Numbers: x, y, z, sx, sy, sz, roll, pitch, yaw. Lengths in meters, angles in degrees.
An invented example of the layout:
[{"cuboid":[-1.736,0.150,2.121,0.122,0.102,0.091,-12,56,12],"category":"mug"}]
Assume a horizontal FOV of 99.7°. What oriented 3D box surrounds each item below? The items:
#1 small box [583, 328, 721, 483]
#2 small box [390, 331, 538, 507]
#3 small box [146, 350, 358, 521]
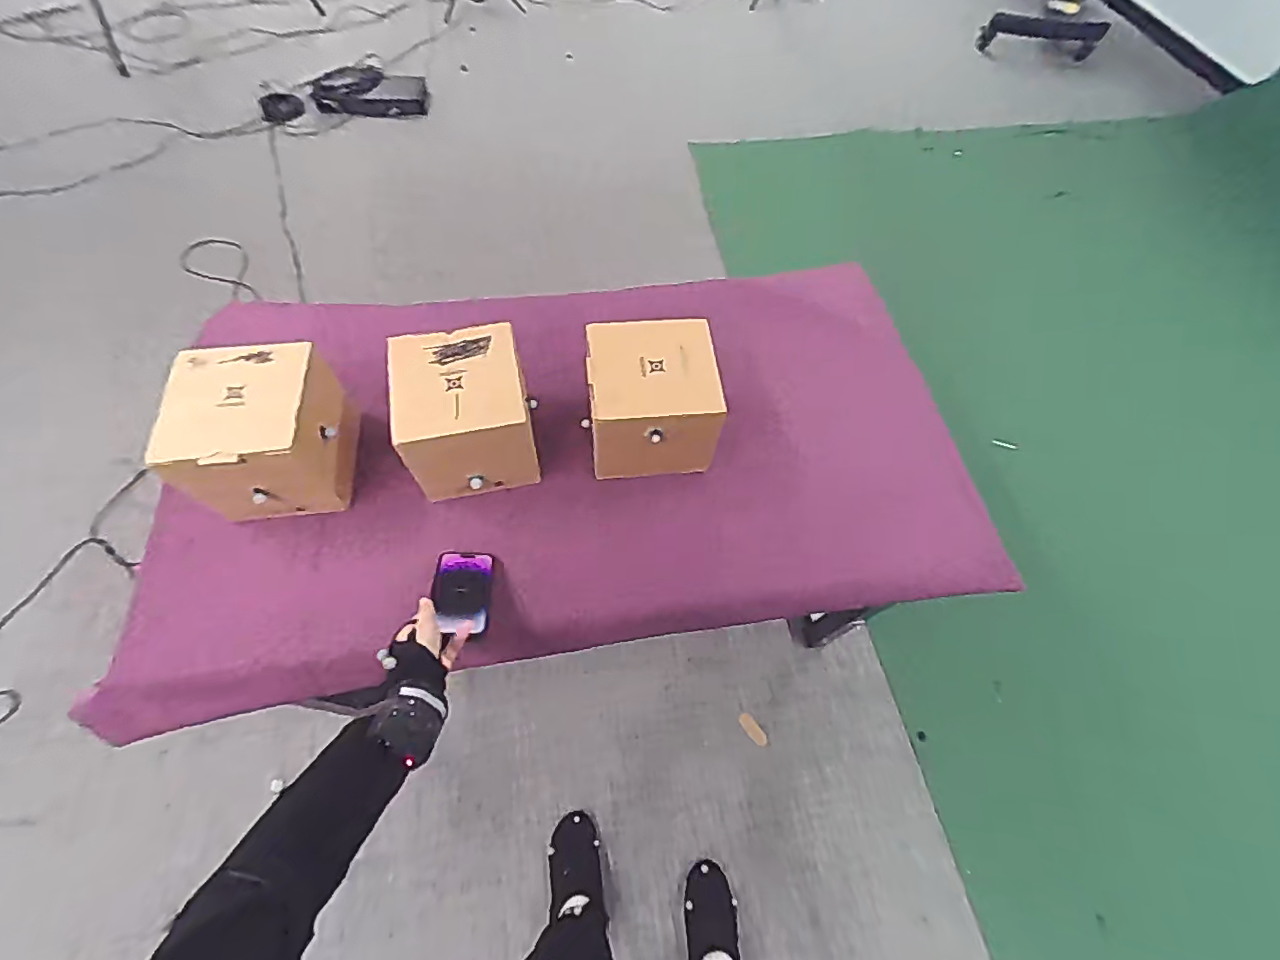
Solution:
[{"cuboid":[0.011,-0.105,0.805,0.179,0.176,0.168,-4,62,-5],"category":"small box"},{"cuboid":[-0.247,-0.084,0.779,0.168,0.176,0.179,-11,63,-9],"category":"small box"},{"cuboid":[-0.512,-0.052,0.747,0.168,0.176,0.179,-6,62,-6],"category":"small box"}]
